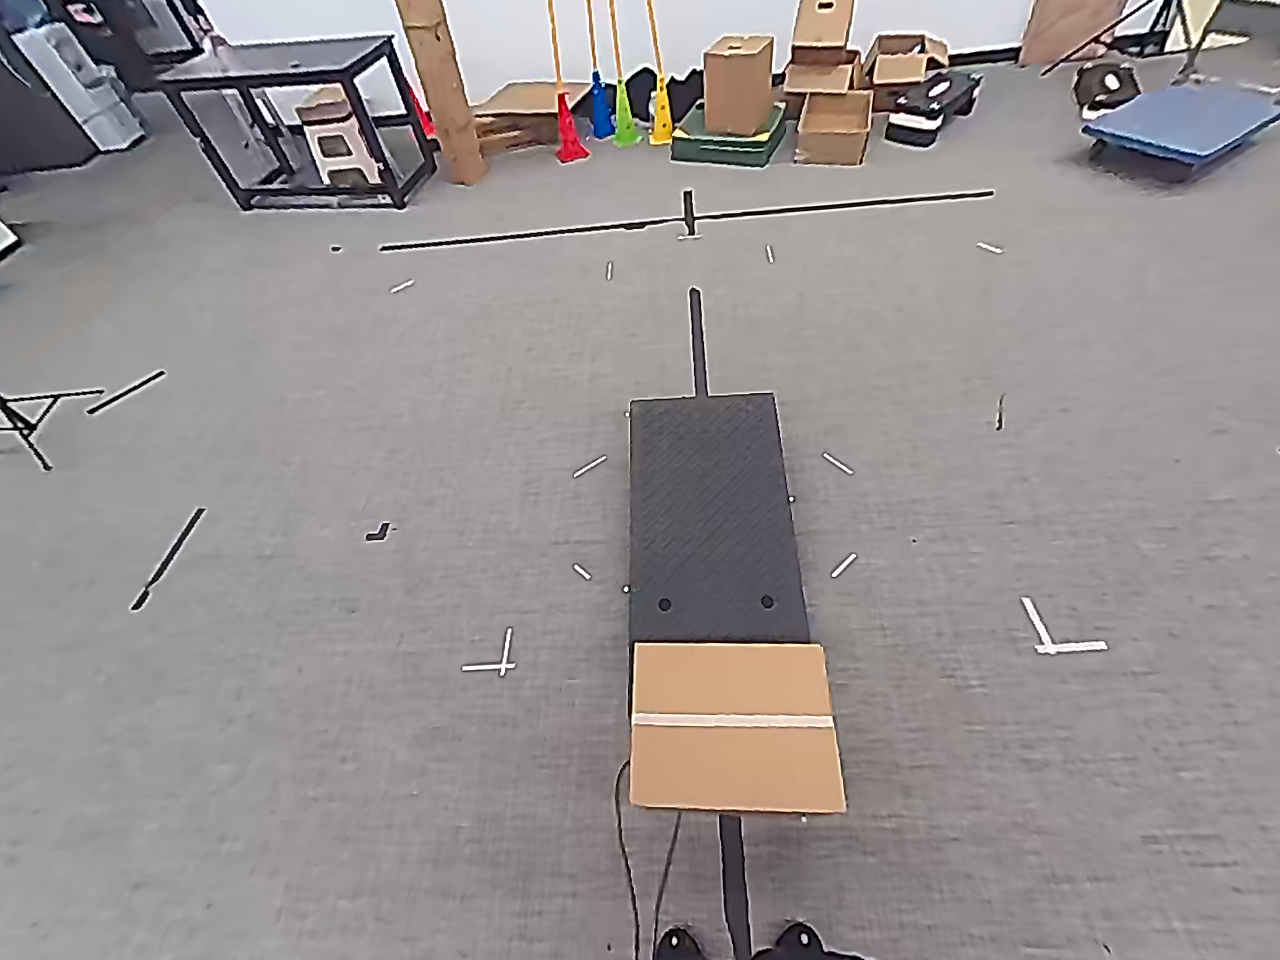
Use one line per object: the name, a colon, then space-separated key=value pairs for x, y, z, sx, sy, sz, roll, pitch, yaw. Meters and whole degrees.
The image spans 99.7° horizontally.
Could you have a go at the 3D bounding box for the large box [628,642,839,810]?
large box: x=0.191 y=0.565 z=1.225 sx=0.408 sy=0.320 sz=0.320 roll=-1 pitch=56 yaw=5

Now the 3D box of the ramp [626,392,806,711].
ramp: x=0.205 y=0.155 z=1.626 sx=0.509 sy=0.206 sz=0.991 roll=-3 pitch=52 yaw=2
